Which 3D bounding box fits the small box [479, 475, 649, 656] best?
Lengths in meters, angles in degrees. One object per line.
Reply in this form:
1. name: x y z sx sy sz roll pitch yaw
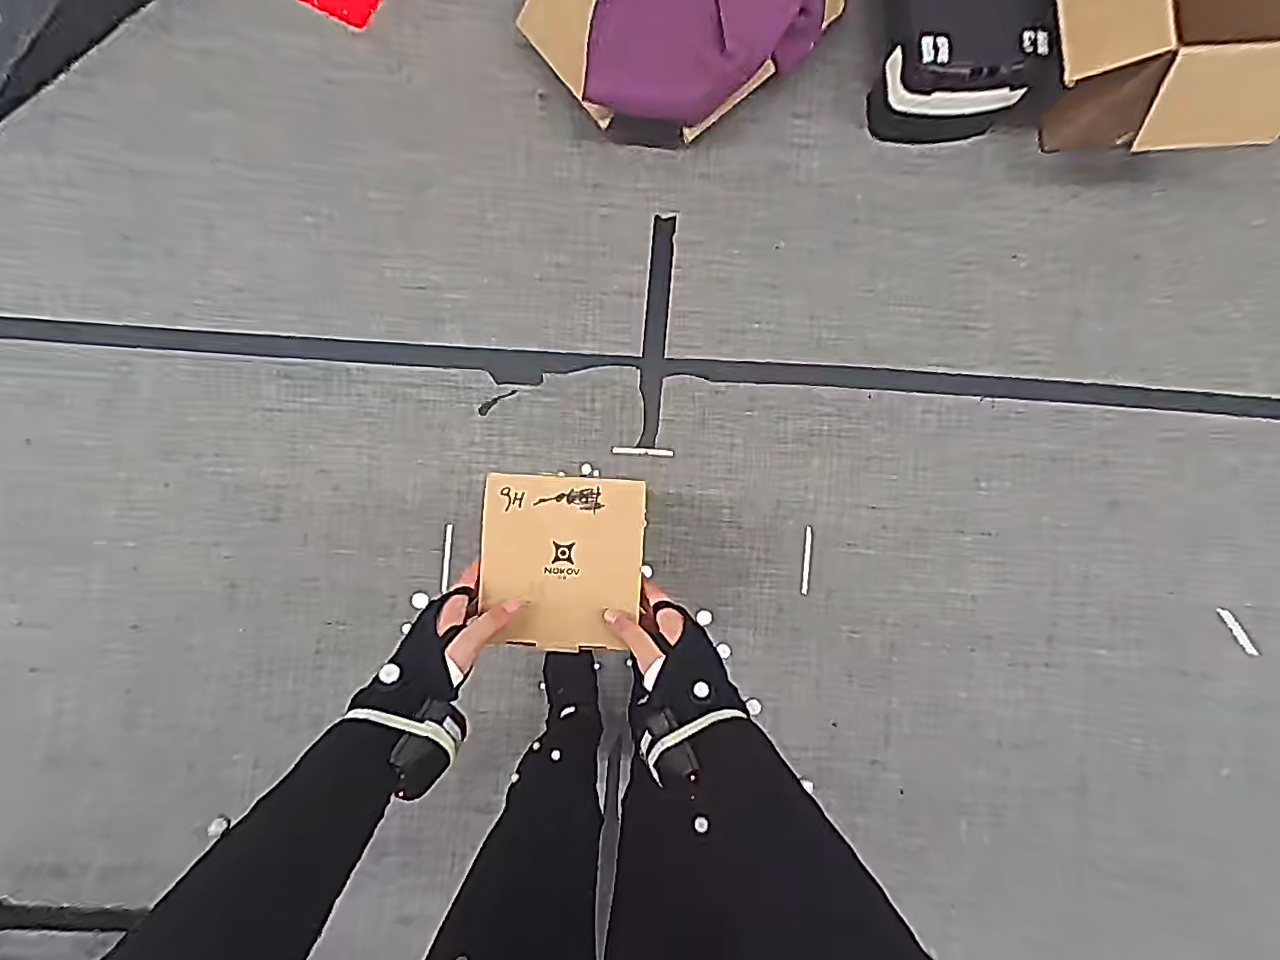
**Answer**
1. small box: -0.078 0.087 0.628 0.168 0.176 0.179 4 90 -1
